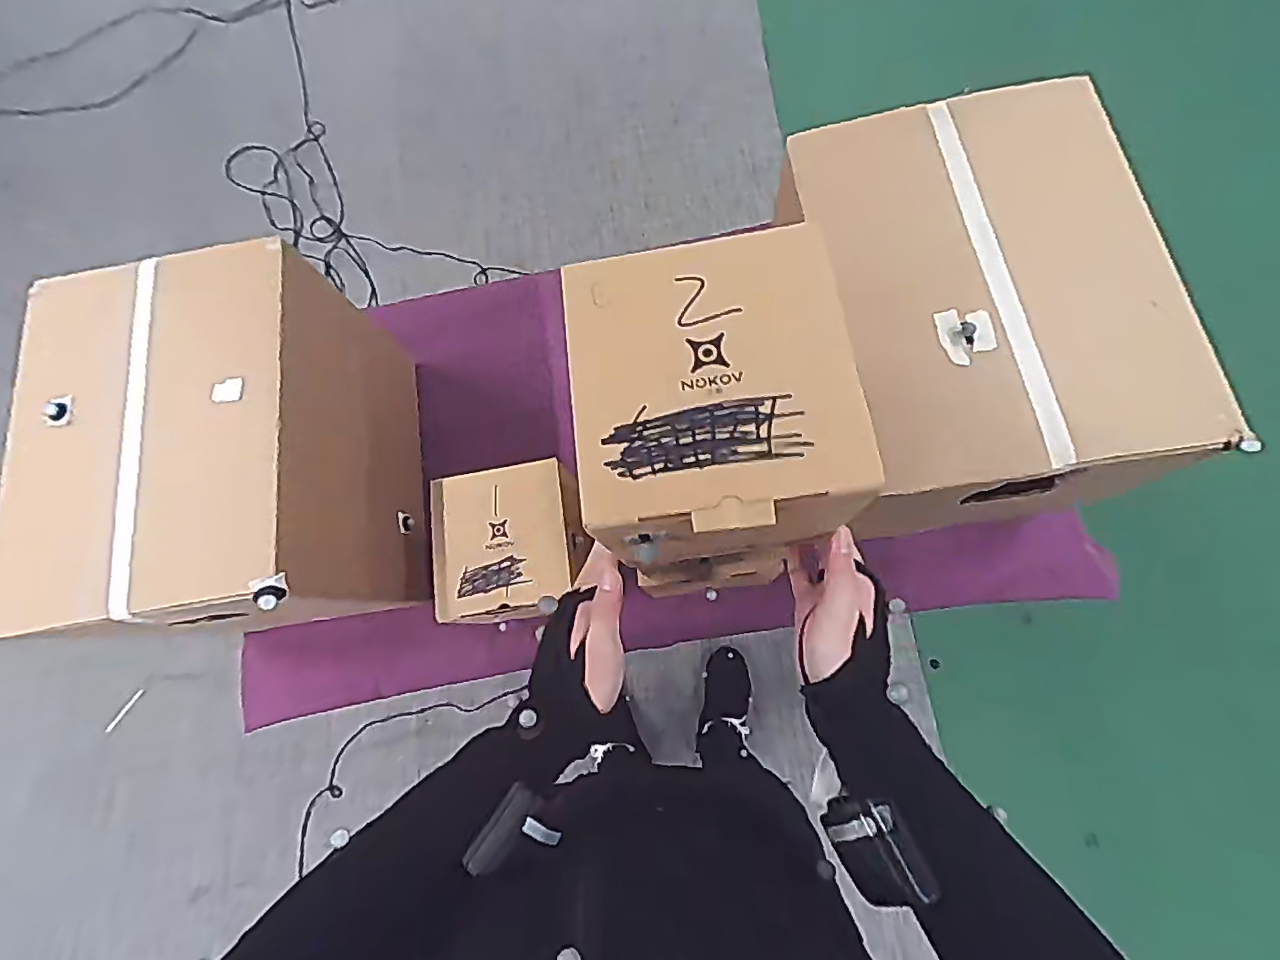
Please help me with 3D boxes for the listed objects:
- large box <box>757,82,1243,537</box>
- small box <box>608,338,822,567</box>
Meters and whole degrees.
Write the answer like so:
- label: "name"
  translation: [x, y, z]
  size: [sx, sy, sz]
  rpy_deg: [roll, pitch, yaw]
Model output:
- label: "large box"
  translation: [0.349, -0.166, 0.660]
  size: [0.320, 0.320, 0.408]
  rpy_deg: [-9, 76, 4]
- label: "small box"
  translation: [0.066, -0.016, 0.552]
  size: [0.168, 0.176, 0.179]
  rpy_deg: [-10, 75, 3]
